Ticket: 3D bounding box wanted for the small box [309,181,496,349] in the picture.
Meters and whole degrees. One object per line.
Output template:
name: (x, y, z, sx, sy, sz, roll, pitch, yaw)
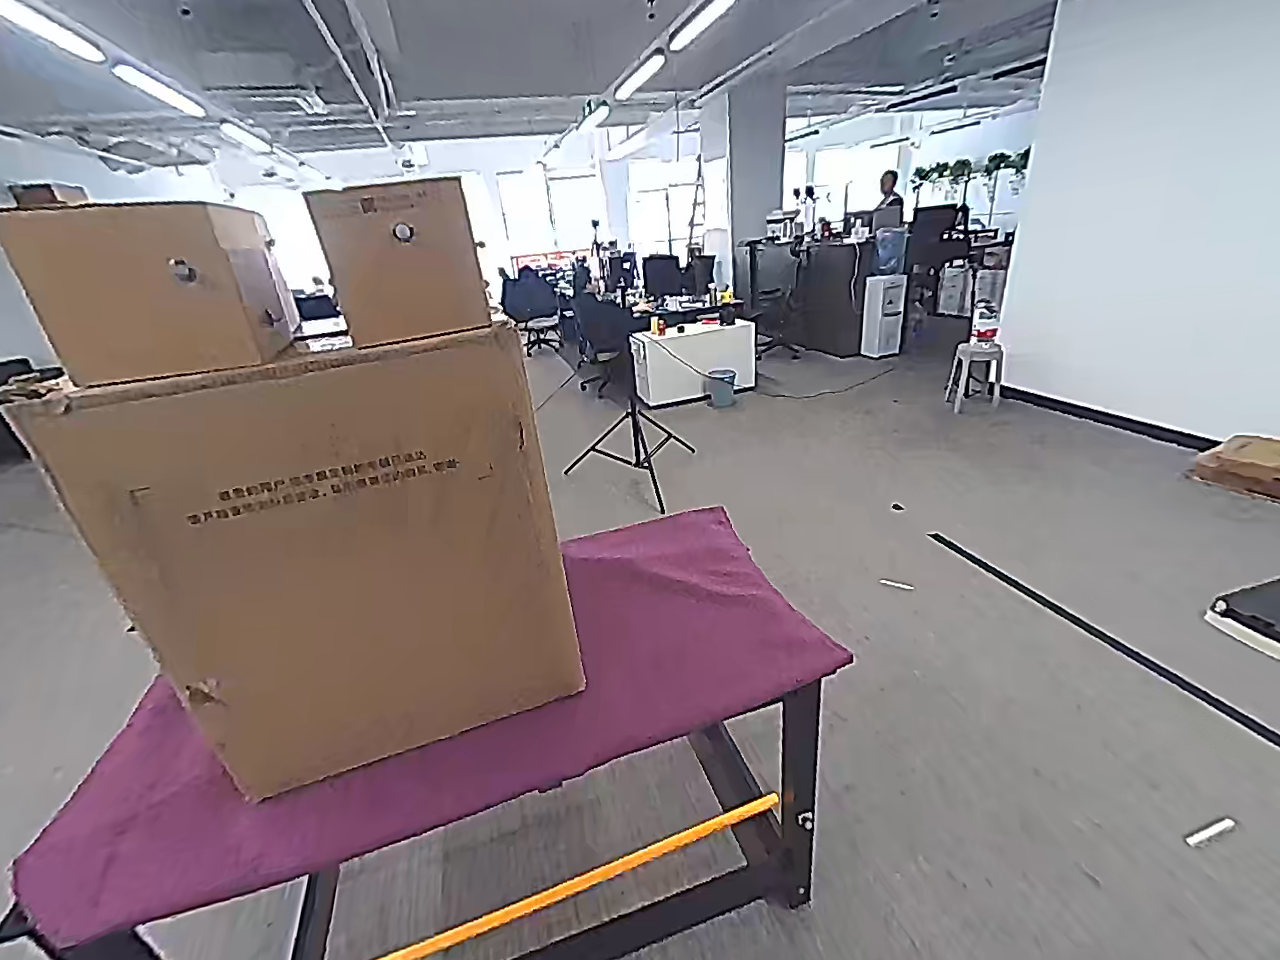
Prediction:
small box: (-0.293, -0.277, 0.690, 0.168, 0.176, 0.179, -15, 26, -16)
